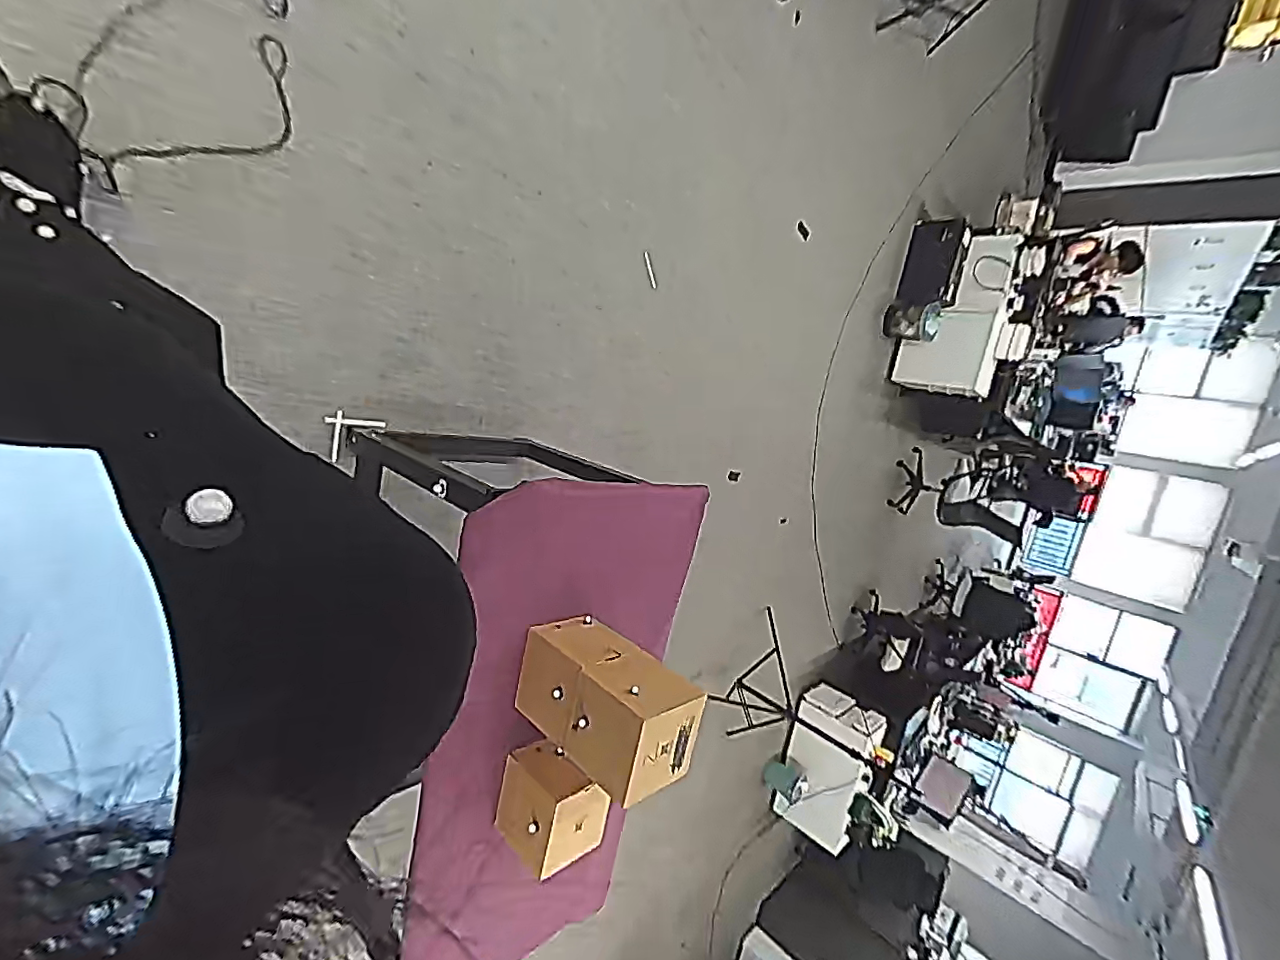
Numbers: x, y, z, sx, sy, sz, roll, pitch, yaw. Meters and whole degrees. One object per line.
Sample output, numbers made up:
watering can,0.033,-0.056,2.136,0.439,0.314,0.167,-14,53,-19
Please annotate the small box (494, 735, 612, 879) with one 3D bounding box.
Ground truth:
small box,-0.188,0.675,1.146,0.168,0.176,0.179,4,101,-48

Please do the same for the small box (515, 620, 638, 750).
small box,-0.132,0.400,1.098,0.168,0.176,0.179,3,103,-48
